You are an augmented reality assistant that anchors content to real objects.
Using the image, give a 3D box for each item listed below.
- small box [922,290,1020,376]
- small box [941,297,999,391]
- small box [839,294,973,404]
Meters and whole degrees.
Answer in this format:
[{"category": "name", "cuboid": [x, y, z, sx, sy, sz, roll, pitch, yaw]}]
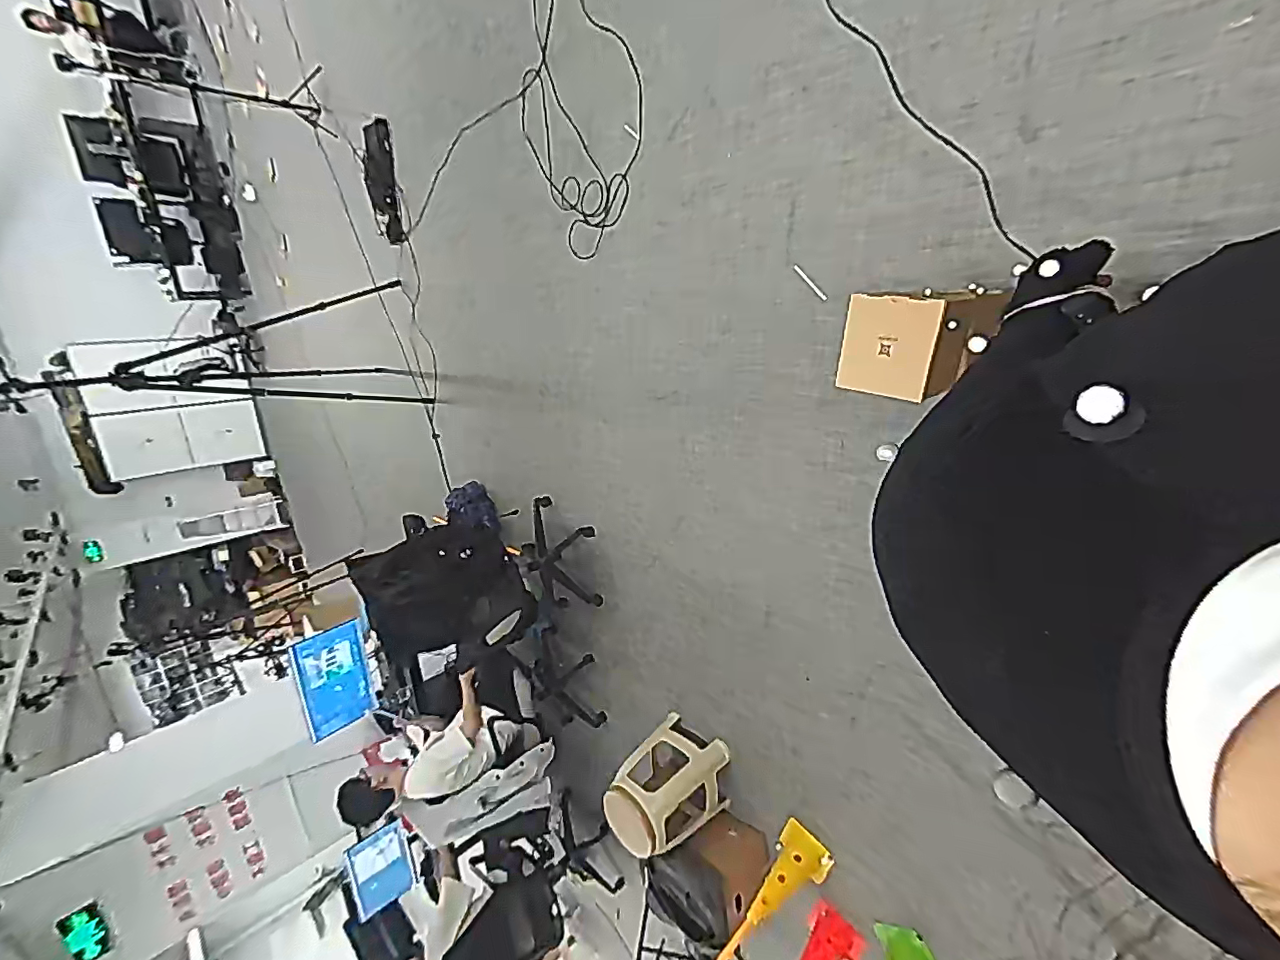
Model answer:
[{"category": "small box", "cuboid": [0.749, -0.340, 1.241, 0.168, 0.176, 0.179, 16, 115, 43]}, {"category": "small box", "cuboid": [0.631, -0.294, 1.137, 0.168, 0.176, 0.179, 17, 117, 43]}, {"category": "small box", "cuboid": [0.509, -0.258, 1.035, 0.168, 0.176, 0.179, 23, 119, 41]}]
